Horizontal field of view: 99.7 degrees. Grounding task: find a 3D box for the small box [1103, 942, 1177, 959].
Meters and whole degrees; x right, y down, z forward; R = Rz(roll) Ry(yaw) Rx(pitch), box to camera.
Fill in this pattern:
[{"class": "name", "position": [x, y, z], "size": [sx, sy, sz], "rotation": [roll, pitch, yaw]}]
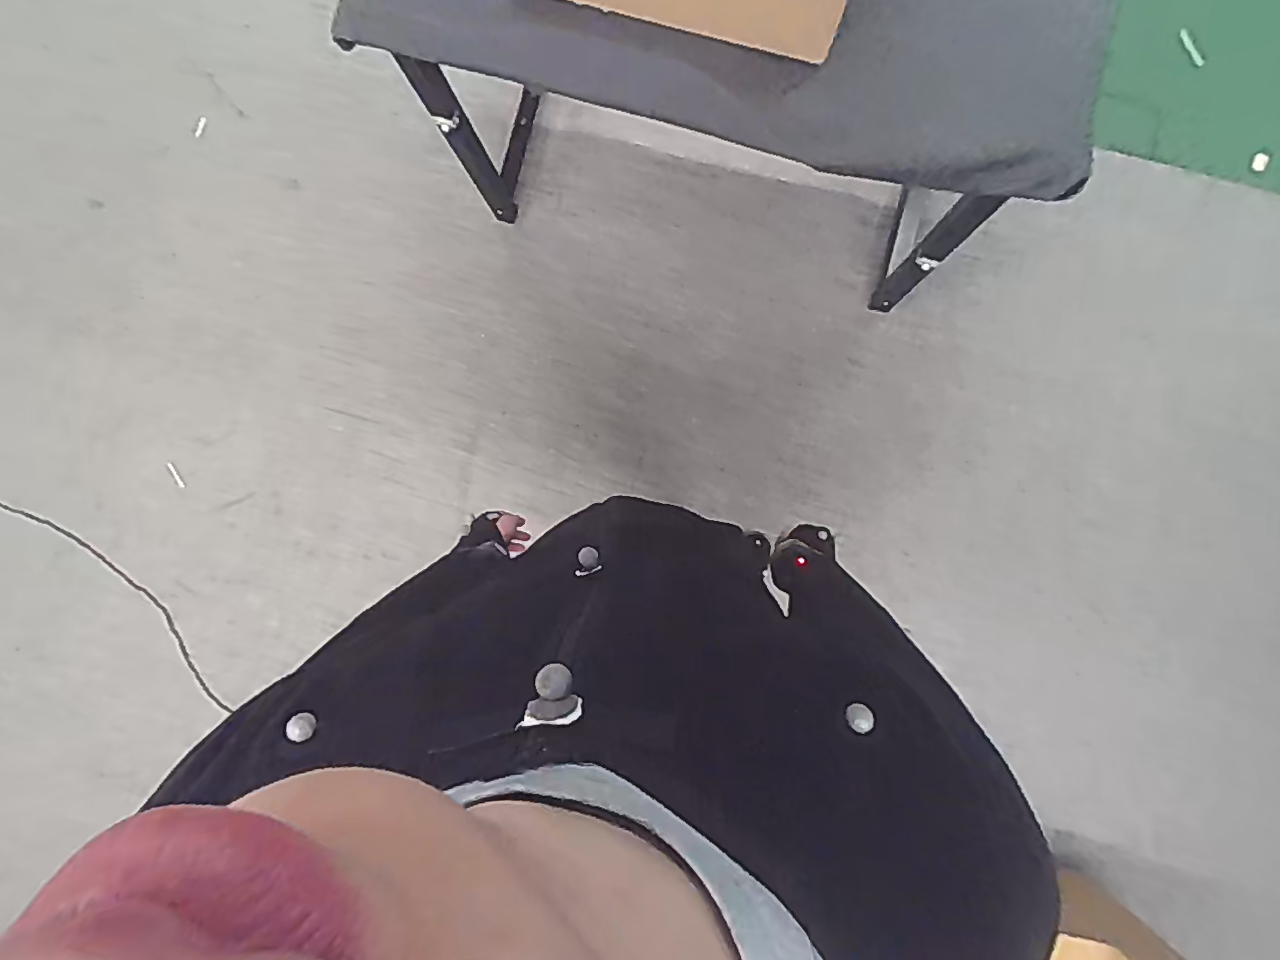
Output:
[{"class": "small box", "position": [1.047, 1.074, 1.060], "size": [0.168, 0.176, 0.179], "rotation": [12, 84, 3]}]
